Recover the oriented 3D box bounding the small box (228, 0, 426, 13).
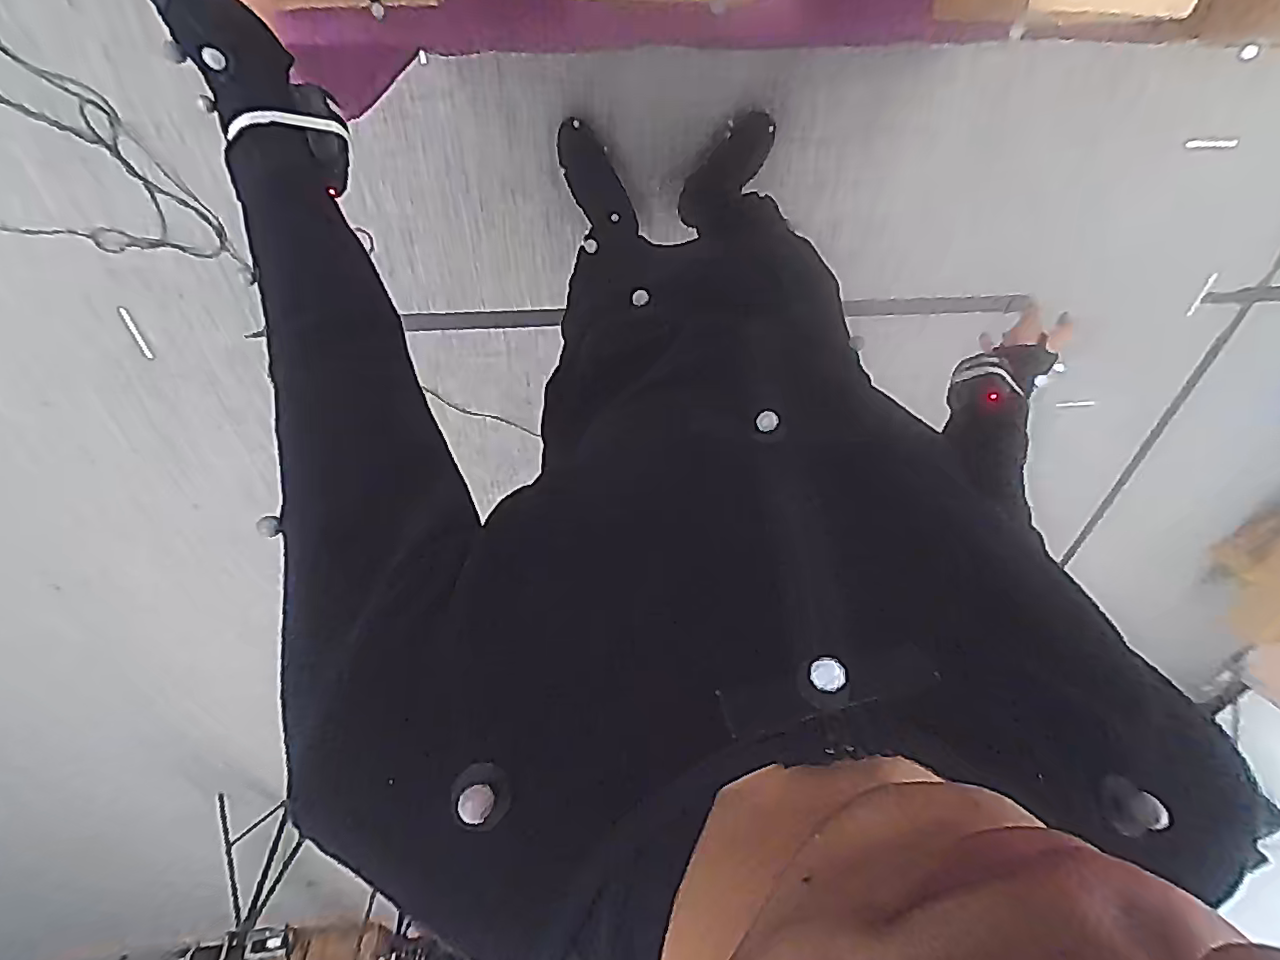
[{"bbox_3d":[-0.281,-0.492,0.435,0.179,0.176,0.168,-8,129,-6],"label":"small box"}]
